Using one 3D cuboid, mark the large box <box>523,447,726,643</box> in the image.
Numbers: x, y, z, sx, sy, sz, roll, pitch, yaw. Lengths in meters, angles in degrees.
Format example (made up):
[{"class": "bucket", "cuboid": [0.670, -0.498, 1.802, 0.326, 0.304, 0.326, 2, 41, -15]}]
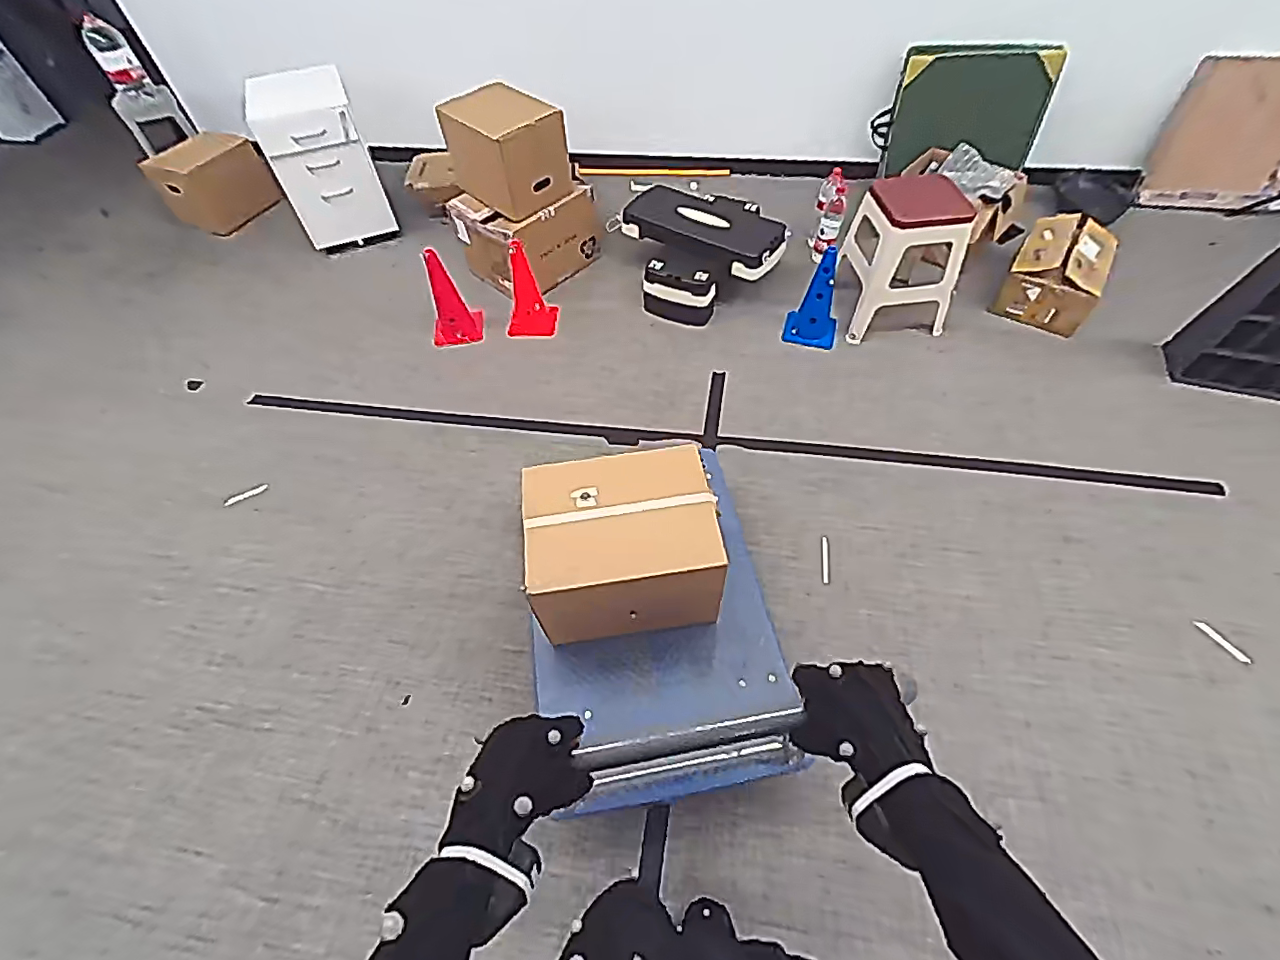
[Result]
[{"class": "large box", "cuboid": [-0.037, 0.161, 1.270, 0.408, 0.320, 0.320, -8, 55, -2]}]
